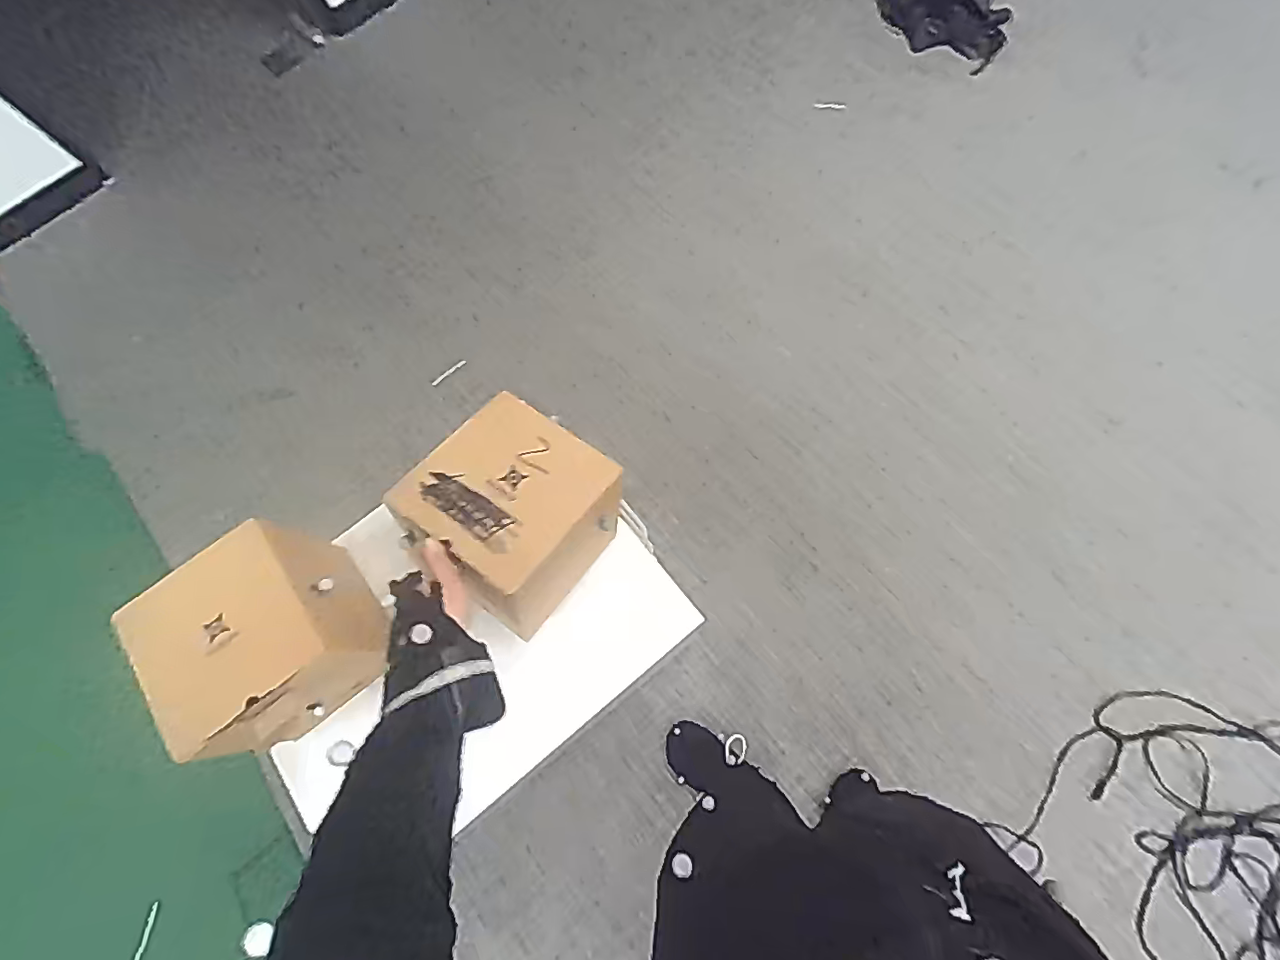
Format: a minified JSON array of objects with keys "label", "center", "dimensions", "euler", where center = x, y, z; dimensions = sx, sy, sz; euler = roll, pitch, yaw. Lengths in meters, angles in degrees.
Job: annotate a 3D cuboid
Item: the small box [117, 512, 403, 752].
[{"label":"small box","center":[-0.409,0.168,0.609],"dimensions":[0.168,0.176,0.179],"euler":[-37,74,-9]}]
